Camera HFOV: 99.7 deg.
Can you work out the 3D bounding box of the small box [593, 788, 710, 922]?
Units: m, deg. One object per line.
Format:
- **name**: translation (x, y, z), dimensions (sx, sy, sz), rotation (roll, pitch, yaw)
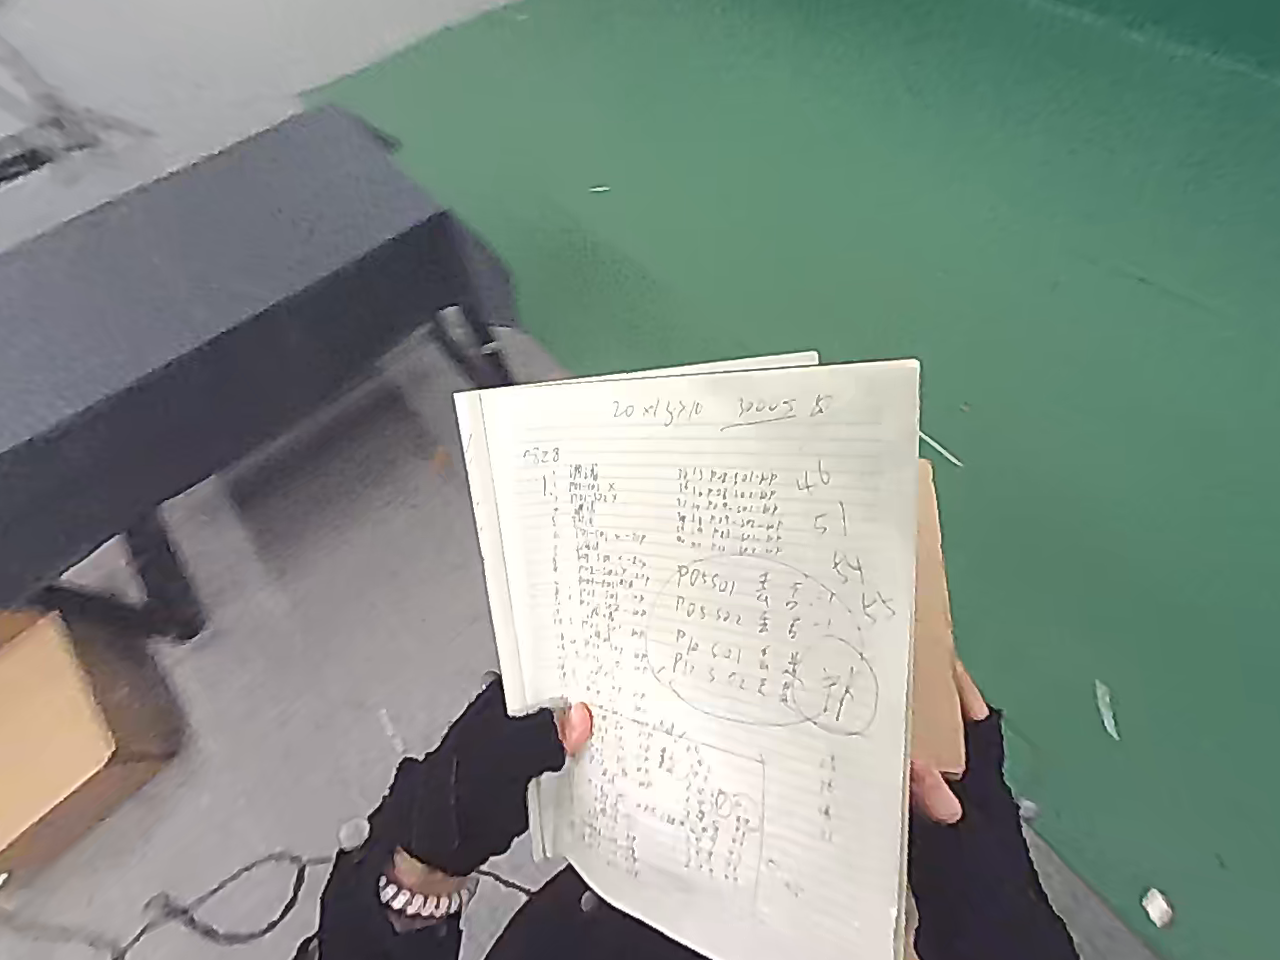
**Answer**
- **small box**: translation (0.021, 0.780, 1.144), dimensions (0.179, 0.176, 0.168), rotation (16, 73, 32)
